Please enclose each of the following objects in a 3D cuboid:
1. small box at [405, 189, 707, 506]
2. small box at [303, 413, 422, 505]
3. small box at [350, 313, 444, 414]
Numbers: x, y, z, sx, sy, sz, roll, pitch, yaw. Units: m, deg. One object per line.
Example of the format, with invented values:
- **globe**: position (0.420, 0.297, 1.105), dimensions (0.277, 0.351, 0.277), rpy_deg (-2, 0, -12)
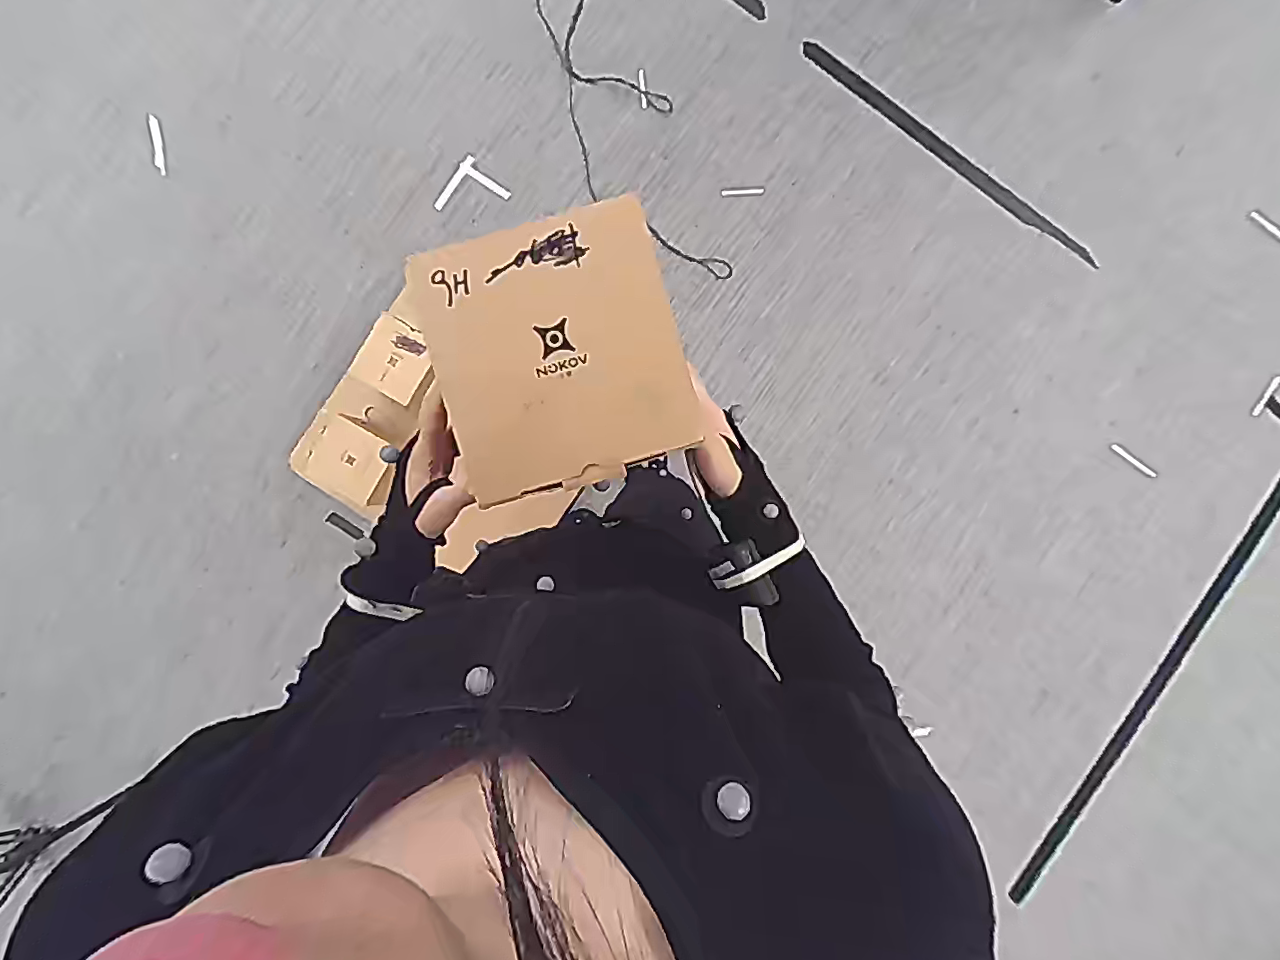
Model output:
- **small box**: position (-0.055, -0.092, 0.436), dimensions (0.168, 0.176, 0.179), rpy_deg (-16, 94, -1)
- **small box**: position (-0.691, -0.049, 1.366), dimensions (0.179, 0.176, 0.168), rpy_deg (28, 90, -3)
- **small box**: position (-0.585, -0.287, 1.371), dimensions (0.168, 0.176, 0.179), rpy_deg (30, 88, -2)
